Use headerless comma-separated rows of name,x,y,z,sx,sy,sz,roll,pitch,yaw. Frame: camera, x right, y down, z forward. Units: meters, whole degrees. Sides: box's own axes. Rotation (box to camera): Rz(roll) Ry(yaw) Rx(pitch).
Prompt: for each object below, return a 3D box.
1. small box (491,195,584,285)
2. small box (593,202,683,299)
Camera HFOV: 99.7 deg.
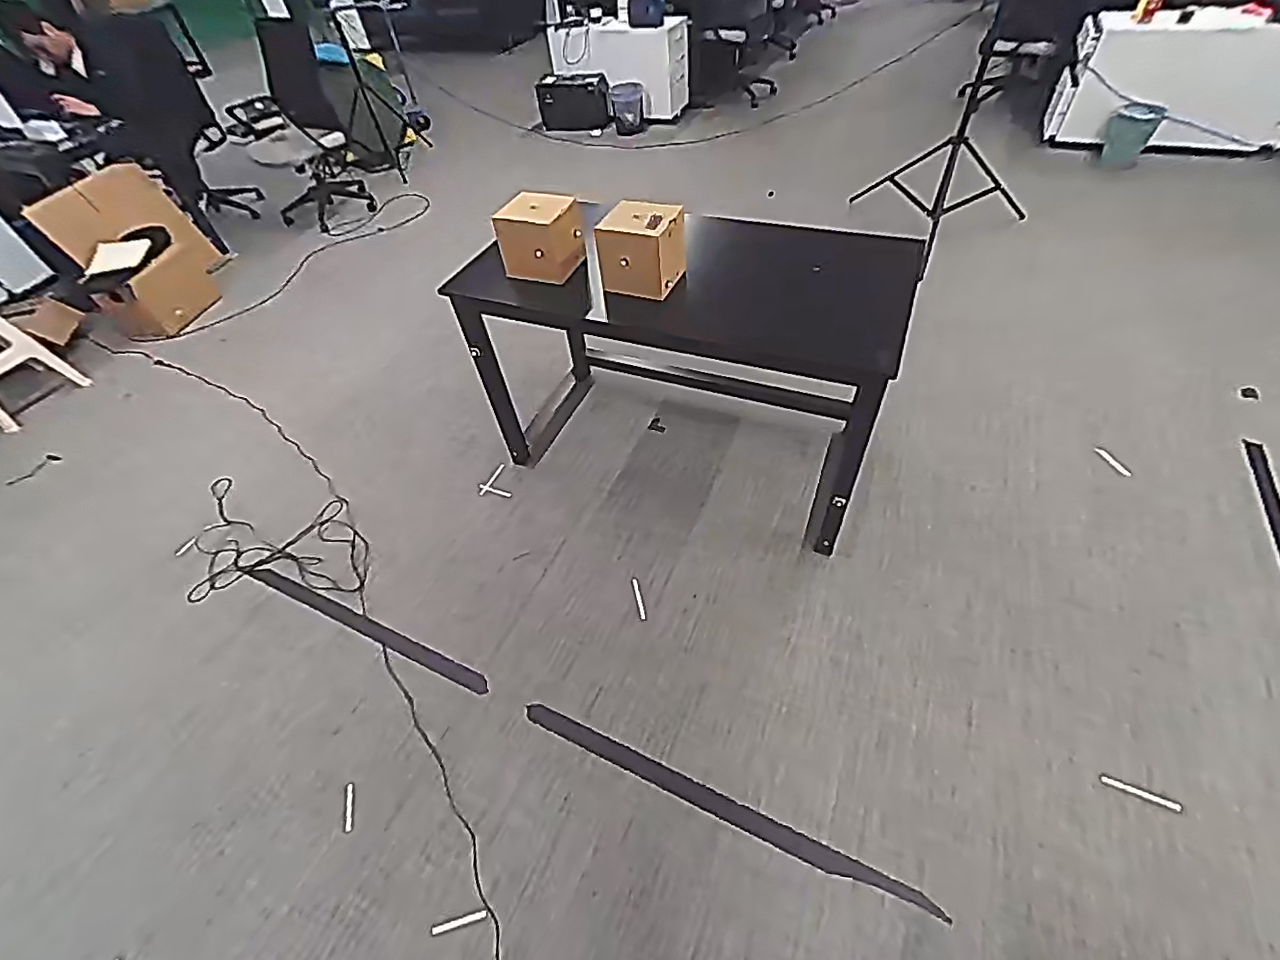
small box,-0.270,-0.654,1.479,0.179,0.176,0.168,13,52,17
small box,0.003,-0.586,1.389,0.179,0.176,0.168,16,53,20
